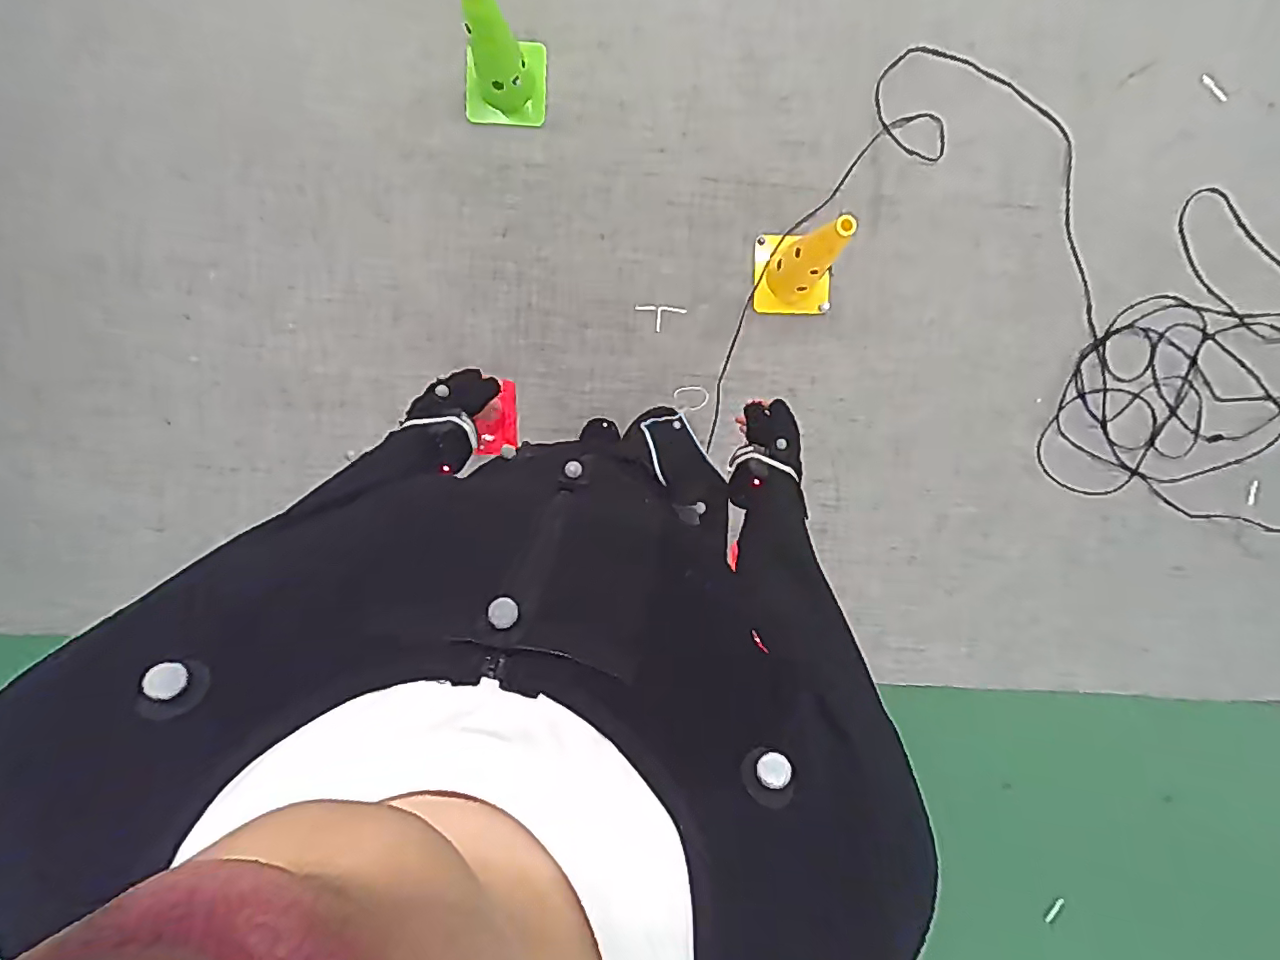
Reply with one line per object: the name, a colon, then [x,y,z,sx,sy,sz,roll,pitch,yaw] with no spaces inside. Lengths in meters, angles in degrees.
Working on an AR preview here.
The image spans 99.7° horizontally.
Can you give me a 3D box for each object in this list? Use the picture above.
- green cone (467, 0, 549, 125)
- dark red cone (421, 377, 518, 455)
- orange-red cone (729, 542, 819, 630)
green cone: [-0.326,-0.988,1.194,0.202,0.368,0.200,2,96,-3]
dark red cone: [-0.418,-0.147,1.250,0.202,0.394,0.201,-1,97,-1]
orange-red cone: [0.358,0.287,1.332,0.198,0.360,0.199,5,94,-3]
